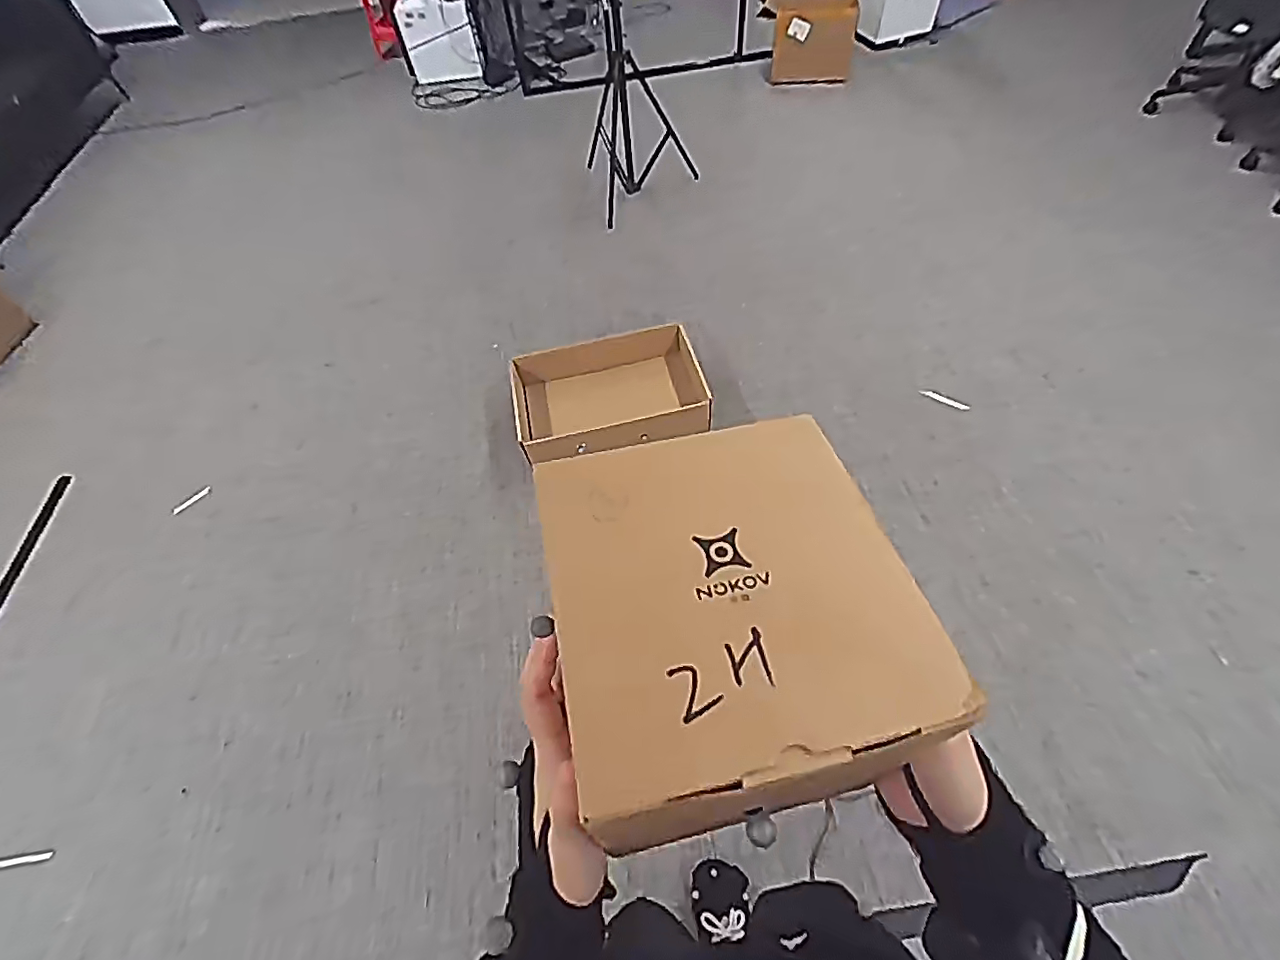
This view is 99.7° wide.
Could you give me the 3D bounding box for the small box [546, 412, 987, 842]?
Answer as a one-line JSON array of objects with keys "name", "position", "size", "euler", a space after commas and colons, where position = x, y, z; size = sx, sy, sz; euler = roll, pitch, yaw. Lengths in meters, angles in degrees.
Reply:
[{"name": "small box", "position": [0.044, 0.088, 0.321], "size": [0.168, 0.176, 0.179], "euler": [-11, 53, -7]}]
